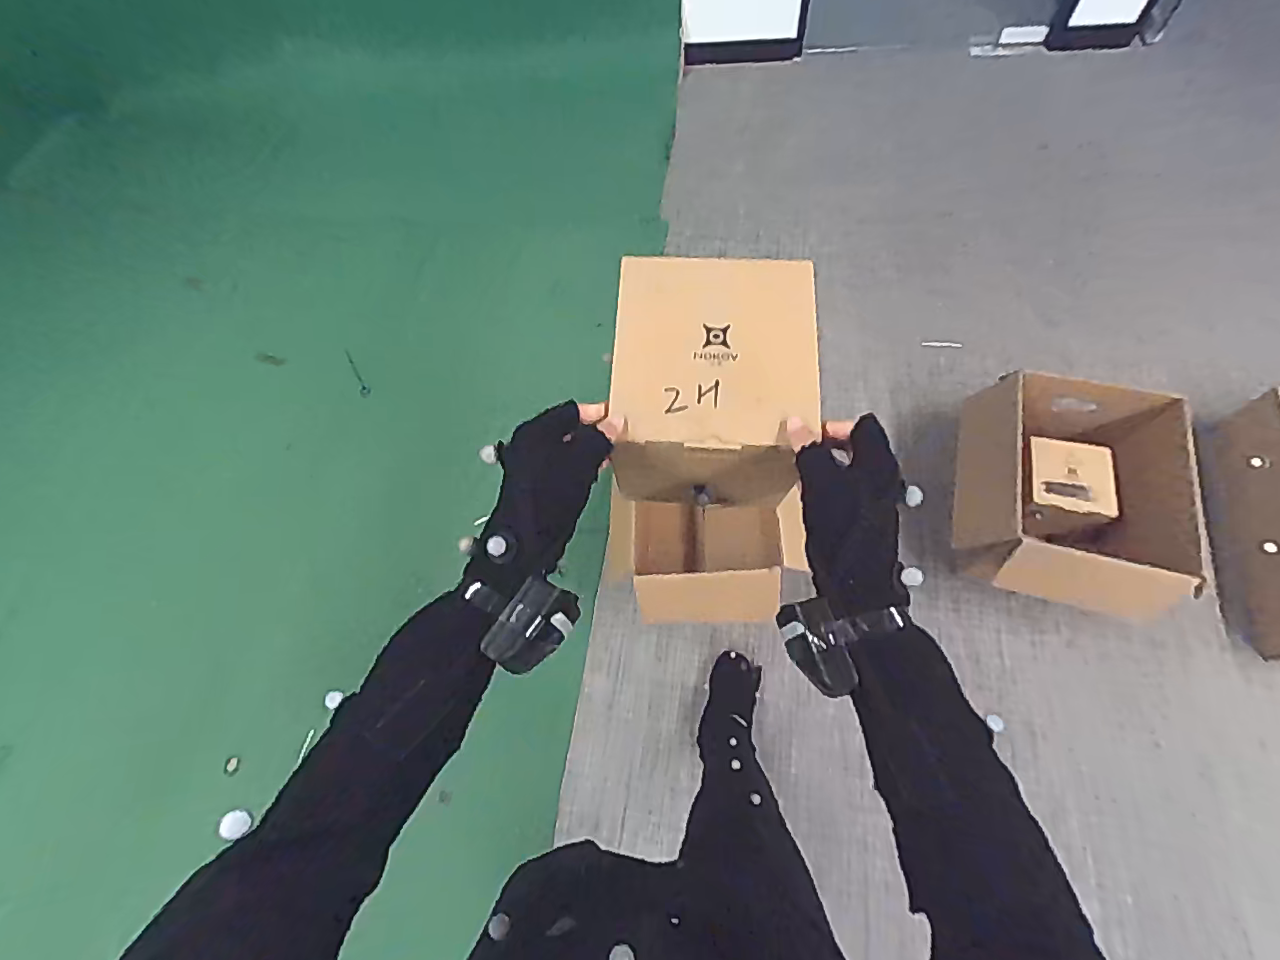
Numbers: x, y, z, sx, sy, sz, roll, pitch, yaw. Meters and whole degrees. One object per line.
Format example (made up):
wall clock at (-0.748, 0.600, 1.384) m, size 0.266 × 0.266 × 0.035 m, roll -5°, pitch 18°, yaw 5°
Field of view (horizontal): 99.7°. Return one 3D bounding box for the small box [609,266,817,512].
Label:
small box at (0.065, -0.079, 0.524) m, size 0.168 × 0.176 × 0.179 m, roll 2°, pitch 71°, yaw 4°
